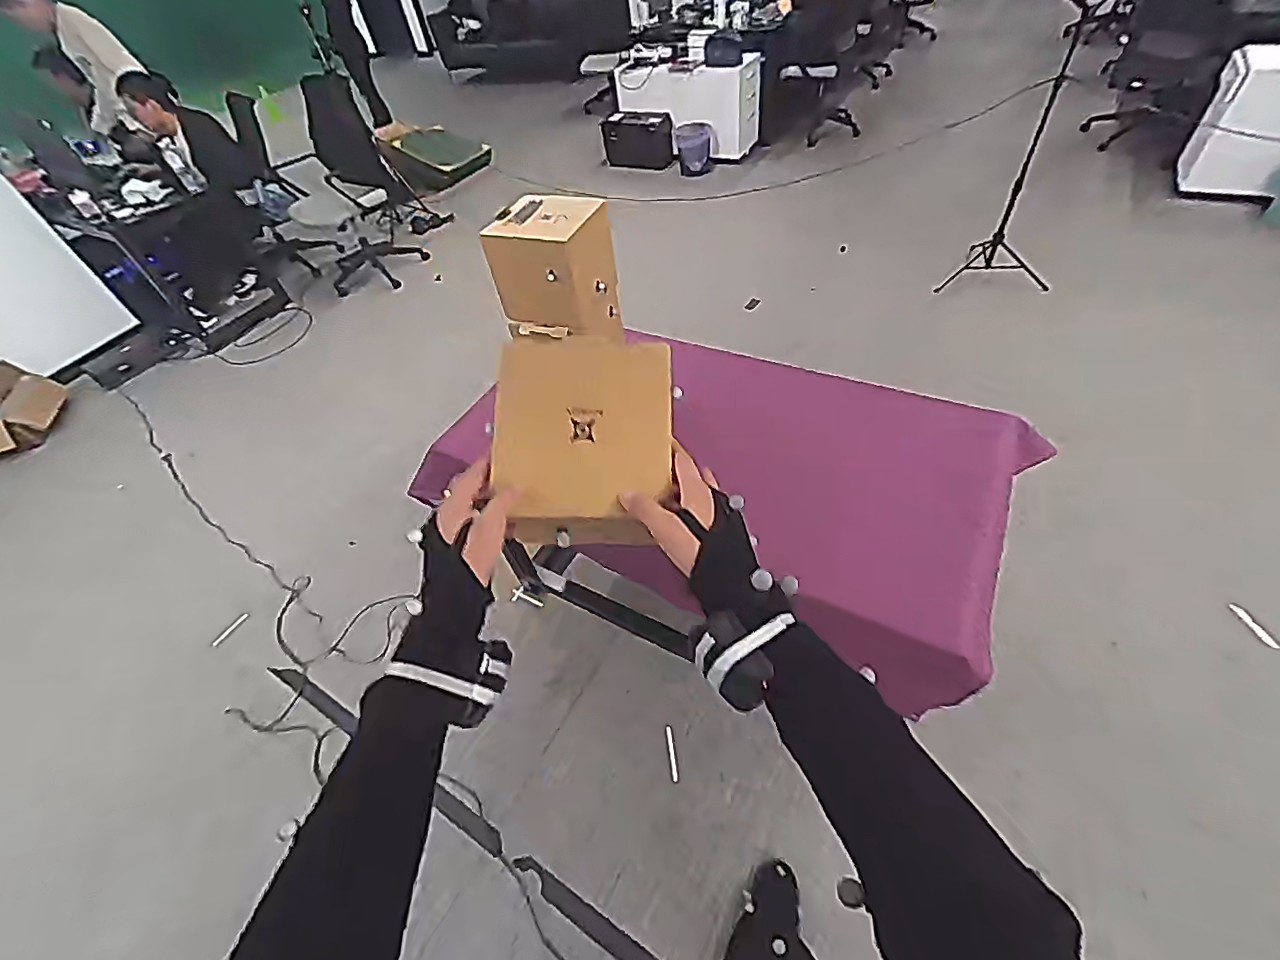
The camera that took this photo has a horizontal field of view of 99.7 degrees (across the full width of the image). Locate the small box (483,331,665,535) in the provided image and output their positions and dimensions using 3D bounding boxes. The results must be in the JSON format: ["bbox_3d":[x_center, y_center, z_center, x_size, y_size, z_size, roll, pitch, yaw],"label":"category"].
[{"bbox_3d":[-0.060,-0.038,0.579,0.168,0.176,0.179,1,74,-2],"label":"small box"}]

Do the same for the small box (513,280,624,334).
[{"bbox_3d":[-0.138,-0.297,1.139,0.168,0.176,0.179,10,52,18],"label":"small box"}]
